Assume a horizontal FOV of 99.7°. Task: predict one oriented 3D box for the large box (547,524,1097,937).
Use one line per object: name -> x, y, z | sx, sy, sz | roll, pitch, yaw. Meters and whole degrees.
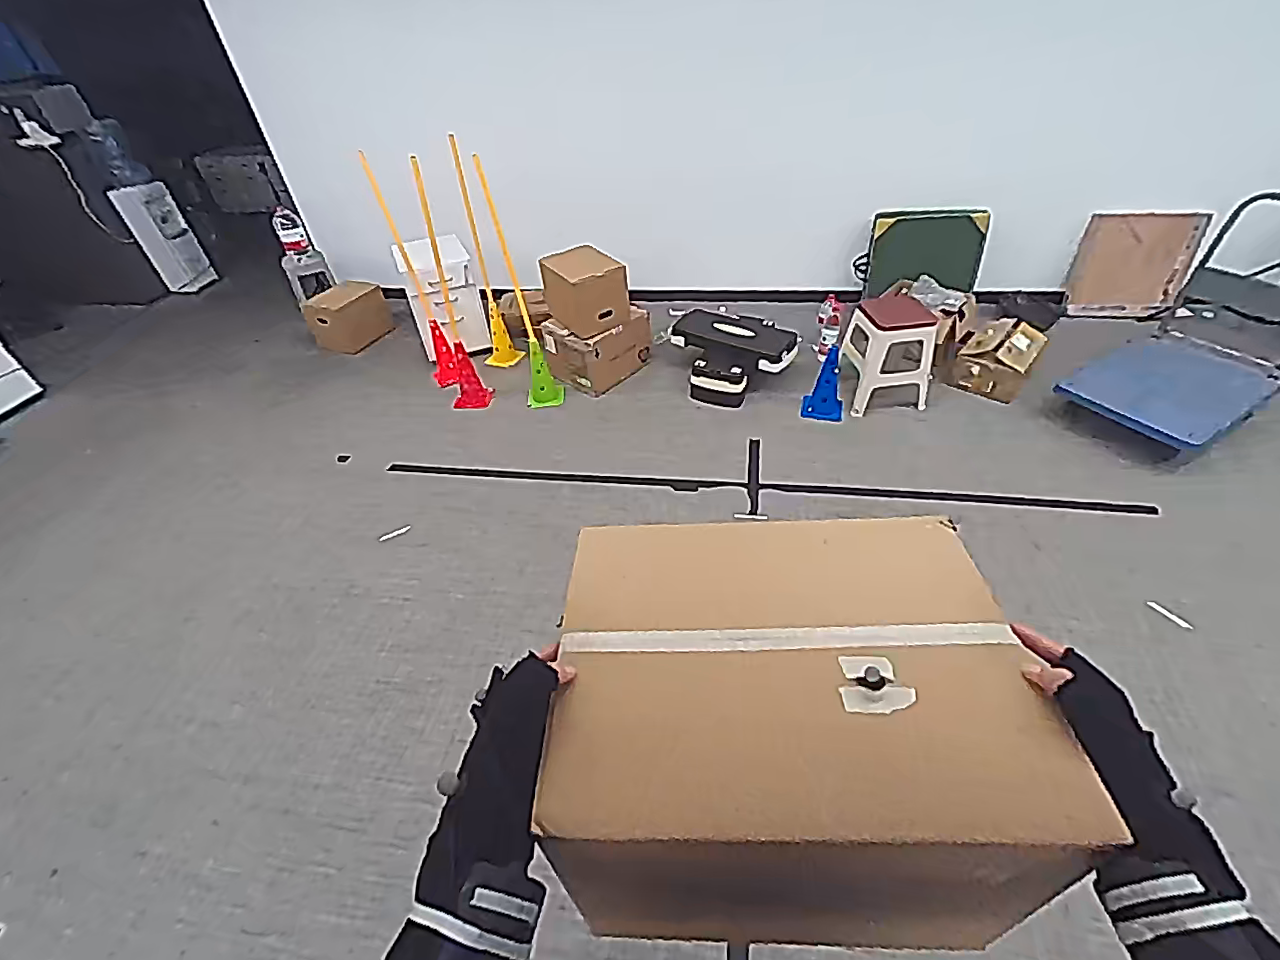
large box -> 0.140, 0.271, 0.597 | 0.408, 0.320, 0.320 | -2, 39, 5
